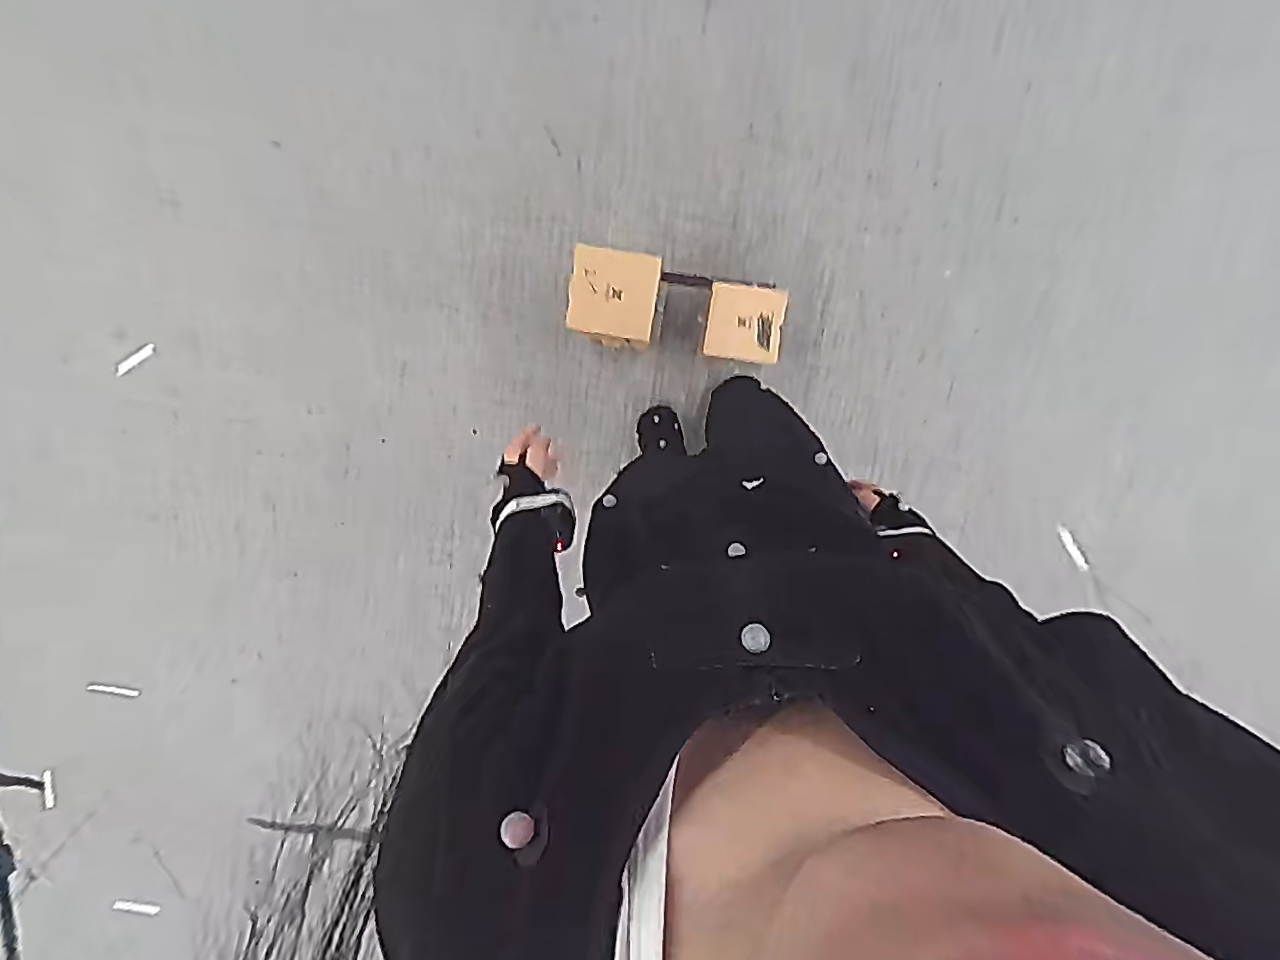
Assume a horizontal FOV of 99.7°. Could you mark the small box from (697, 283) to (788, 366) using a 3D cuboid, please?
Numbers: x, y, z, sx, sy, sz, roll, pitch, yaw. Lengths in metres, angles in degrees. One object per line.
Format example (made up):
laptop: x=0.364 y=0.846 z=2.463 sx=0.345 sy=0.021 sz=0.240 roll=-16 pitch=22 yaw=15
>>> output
small box: x=0.244 y=-0.375 z=1.325 sx=0.179 sy=0.176 sz=0.168 roll=9 pitch=101 yaw=1

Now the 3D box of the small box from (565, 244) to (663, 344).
small box: x=-0.052 y=-0.388 z=1.160 sx=0.179 sy=0.176 sz=0.168 roll=10 pitch=101 yaw=-1
